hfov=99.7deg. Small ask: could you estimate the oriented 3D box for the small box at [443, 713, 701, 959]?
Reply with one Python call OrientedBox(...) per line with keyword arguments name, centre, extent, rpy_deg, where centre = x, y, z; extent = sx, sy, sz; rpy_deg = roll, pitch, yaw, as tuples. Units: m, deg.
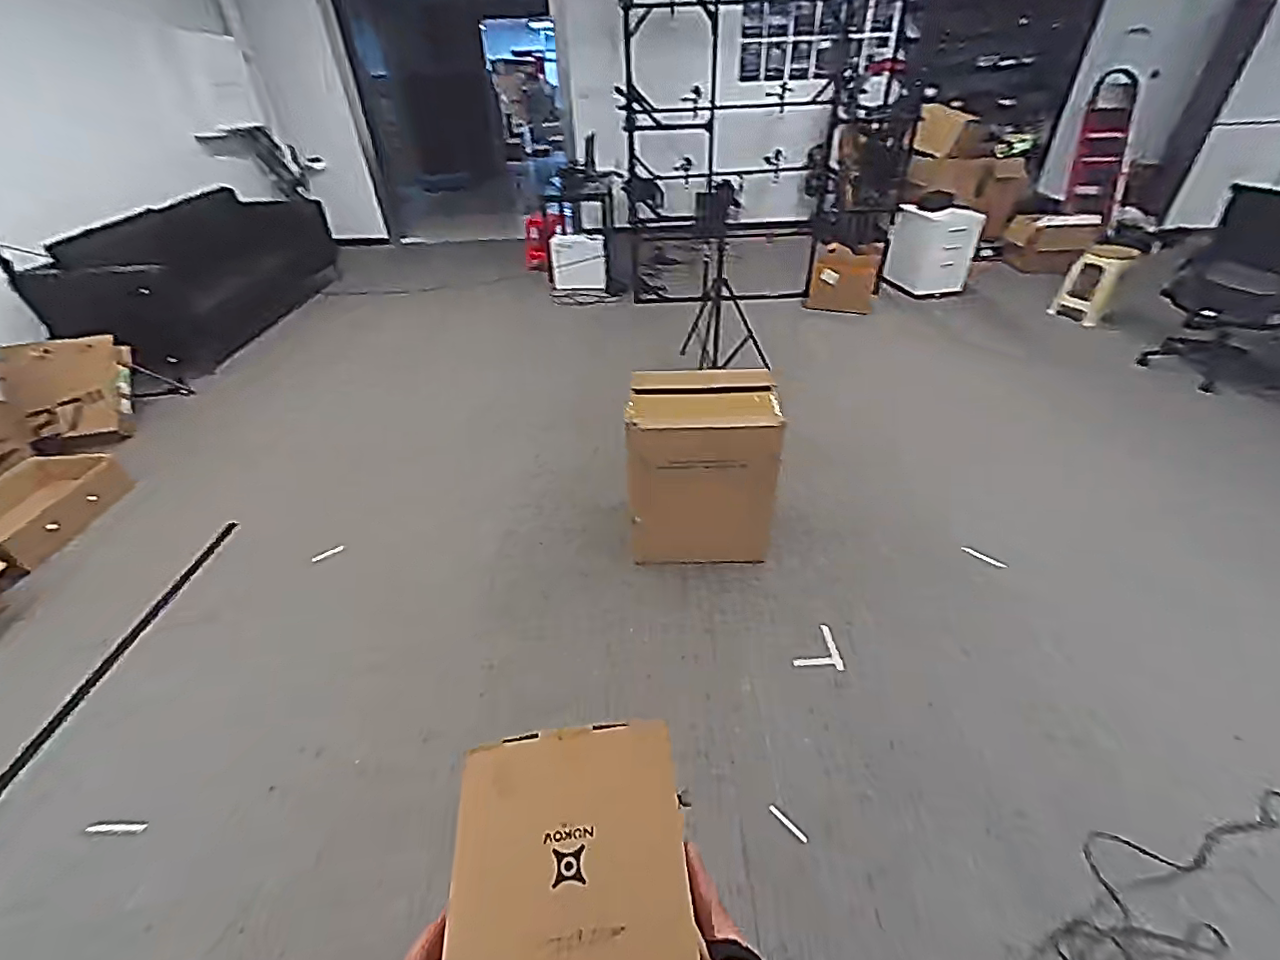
OrientedBox(name="small box", centre=(-0.045, 0.317, 0.440), extent=(0.168, 0.176, 0.179), rpy_deg=(-7, 47, -1))
